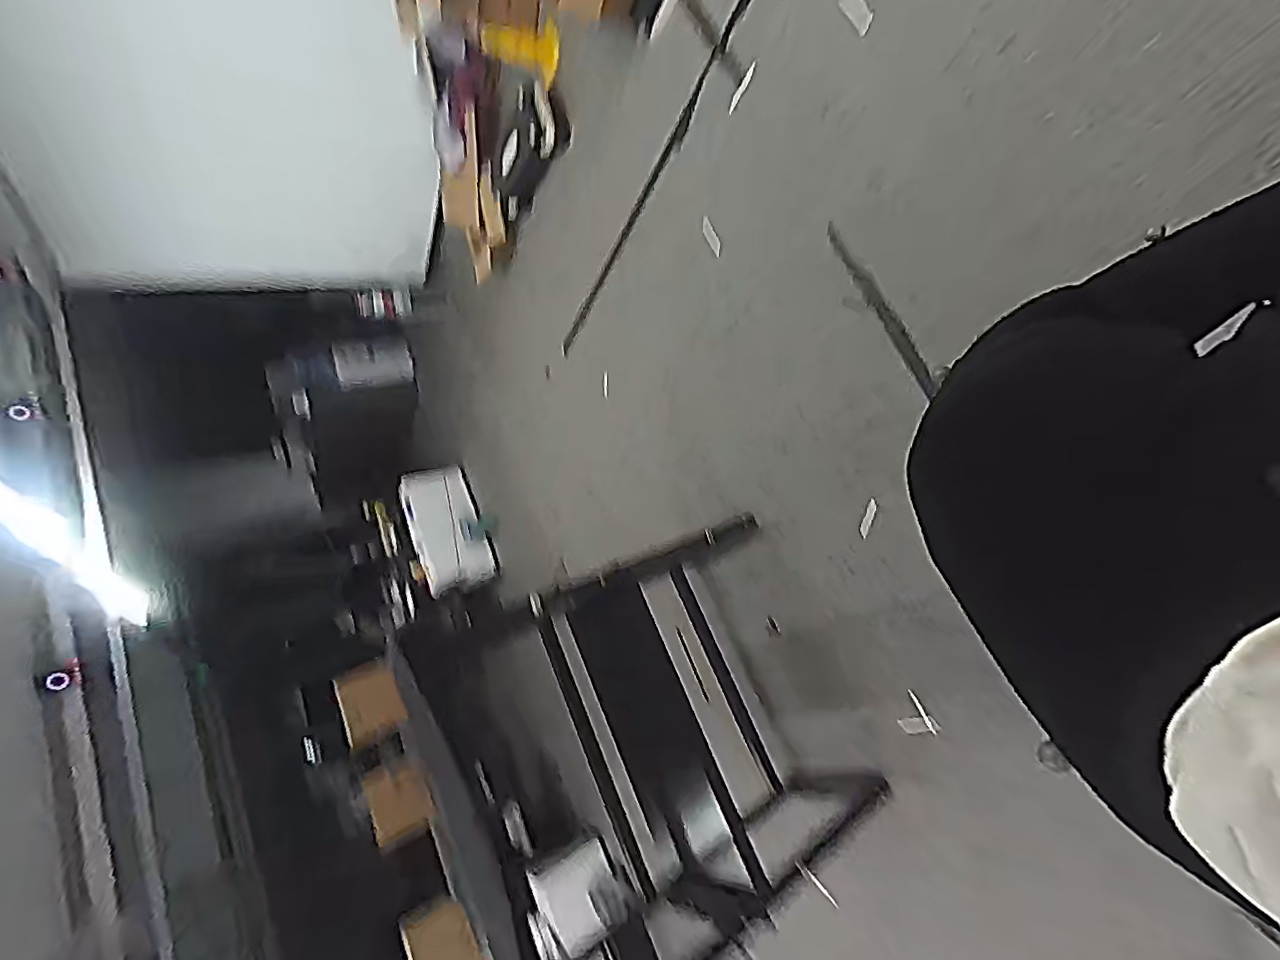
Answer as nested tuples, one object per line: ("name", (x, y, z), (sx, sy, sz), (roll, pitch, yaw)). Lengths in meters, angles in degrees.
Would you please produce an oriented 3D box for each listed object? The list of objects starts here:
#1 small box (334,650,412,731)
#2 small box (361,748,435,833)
("small box", (-0.779, 0.614, 1.583), (0.179, 0.176, 0.168), (-37, 73, 55))
("small box", (-0.767, 0.972, 1.709), (0.168, 0.176, 0.179), (-40, 69, 54))
